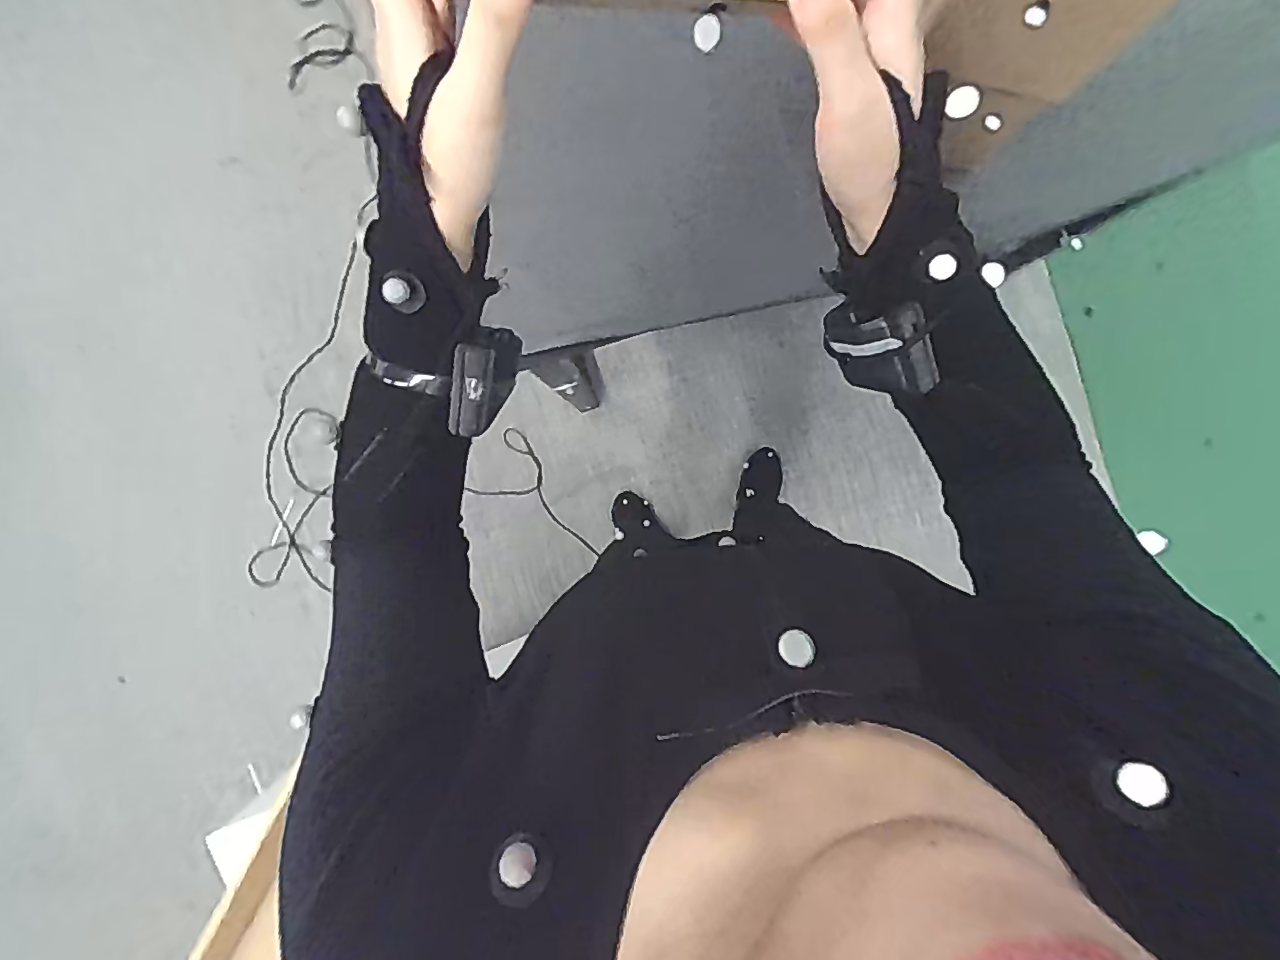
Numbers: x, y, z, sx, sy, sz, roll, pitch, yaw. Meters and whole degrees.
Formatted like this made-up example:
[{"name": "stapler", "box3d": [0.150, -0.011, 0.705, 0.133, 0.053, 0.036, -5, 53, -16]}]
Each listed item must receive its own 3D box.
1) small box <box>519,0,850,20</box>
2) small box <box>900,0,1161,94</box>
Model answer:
[{"name": "small box", "box3d": [-0.002, -0.310, 0.229, 0.179, 0.176, 0.168, -3, 130, -8]}, {"name": "small box", "box3d": [0.376, -0.500, 0.493, 0.179, 0.176, 0.168, 14, 90, 1]}]
